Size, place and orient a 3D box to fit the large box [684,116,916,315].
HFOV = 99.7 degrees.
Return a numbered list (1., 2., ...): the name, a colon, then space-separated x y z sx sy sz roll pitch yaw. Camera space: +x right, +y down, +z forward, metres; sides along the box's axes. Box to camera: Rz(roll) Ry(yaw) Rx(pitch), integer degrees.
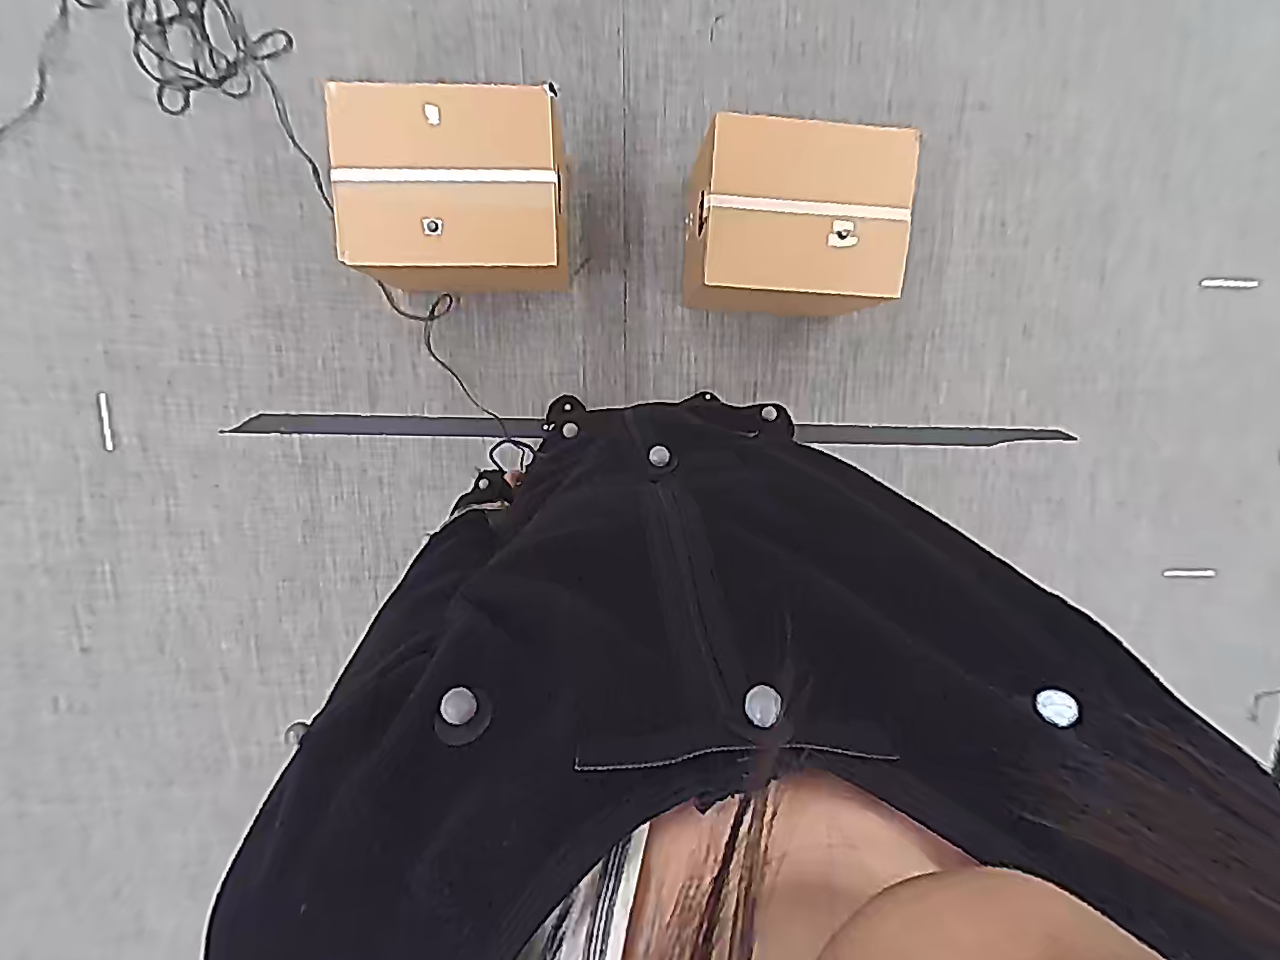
1. large box: 0.322 -0.556 1.207 0.408 0.320 0.320 3 100 -5
